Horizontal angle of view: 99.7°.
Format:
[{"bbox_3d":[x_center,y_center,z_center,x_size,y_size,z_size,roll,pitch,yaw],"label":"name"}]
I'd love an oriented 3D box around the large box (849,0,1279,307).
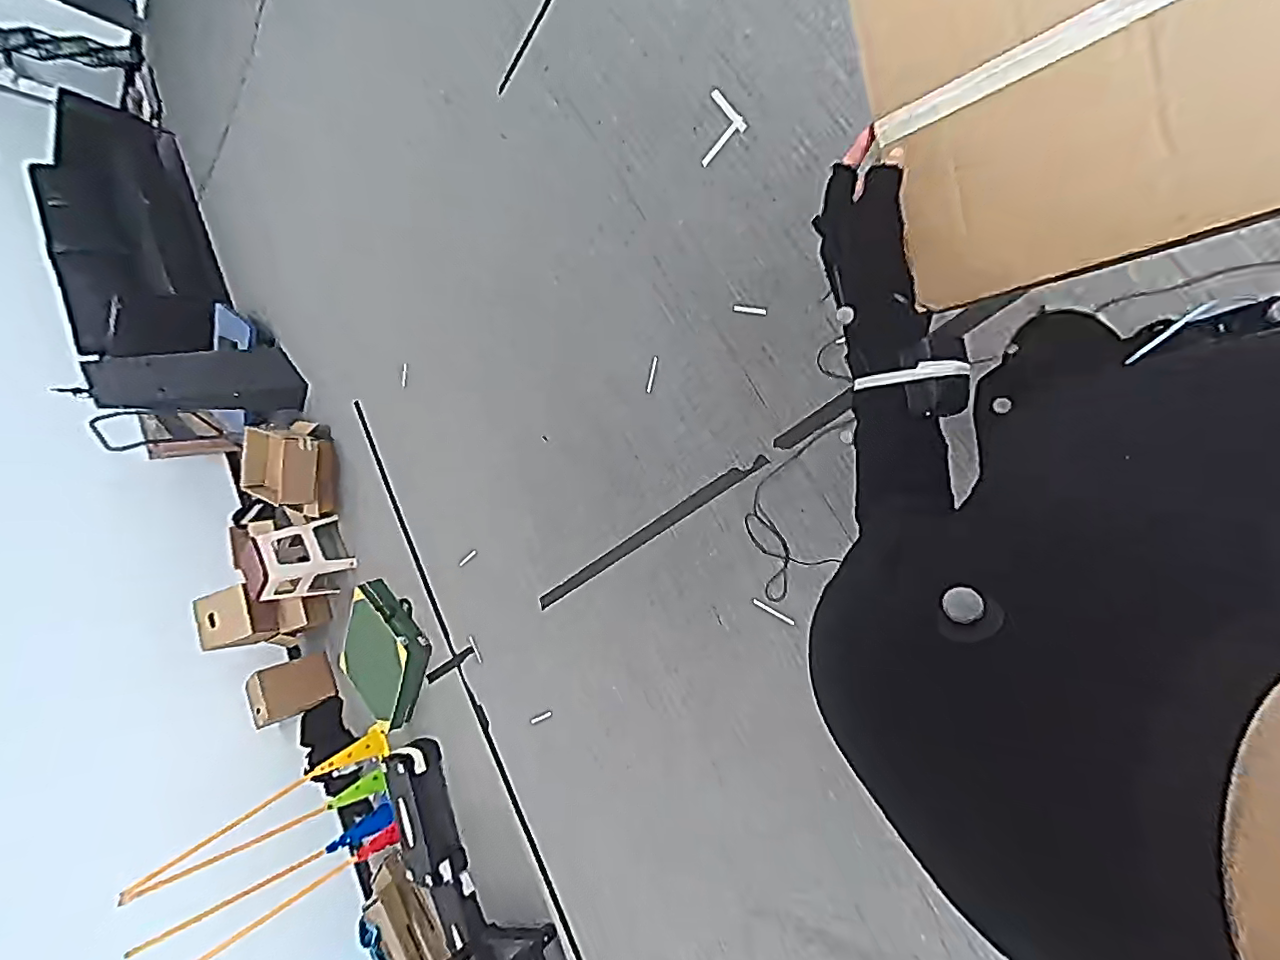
[{"bbox_3d":[0.448,-0.370,0.465,0.408,0.320,0.320,-11,99,38],"label":"large box"}]
